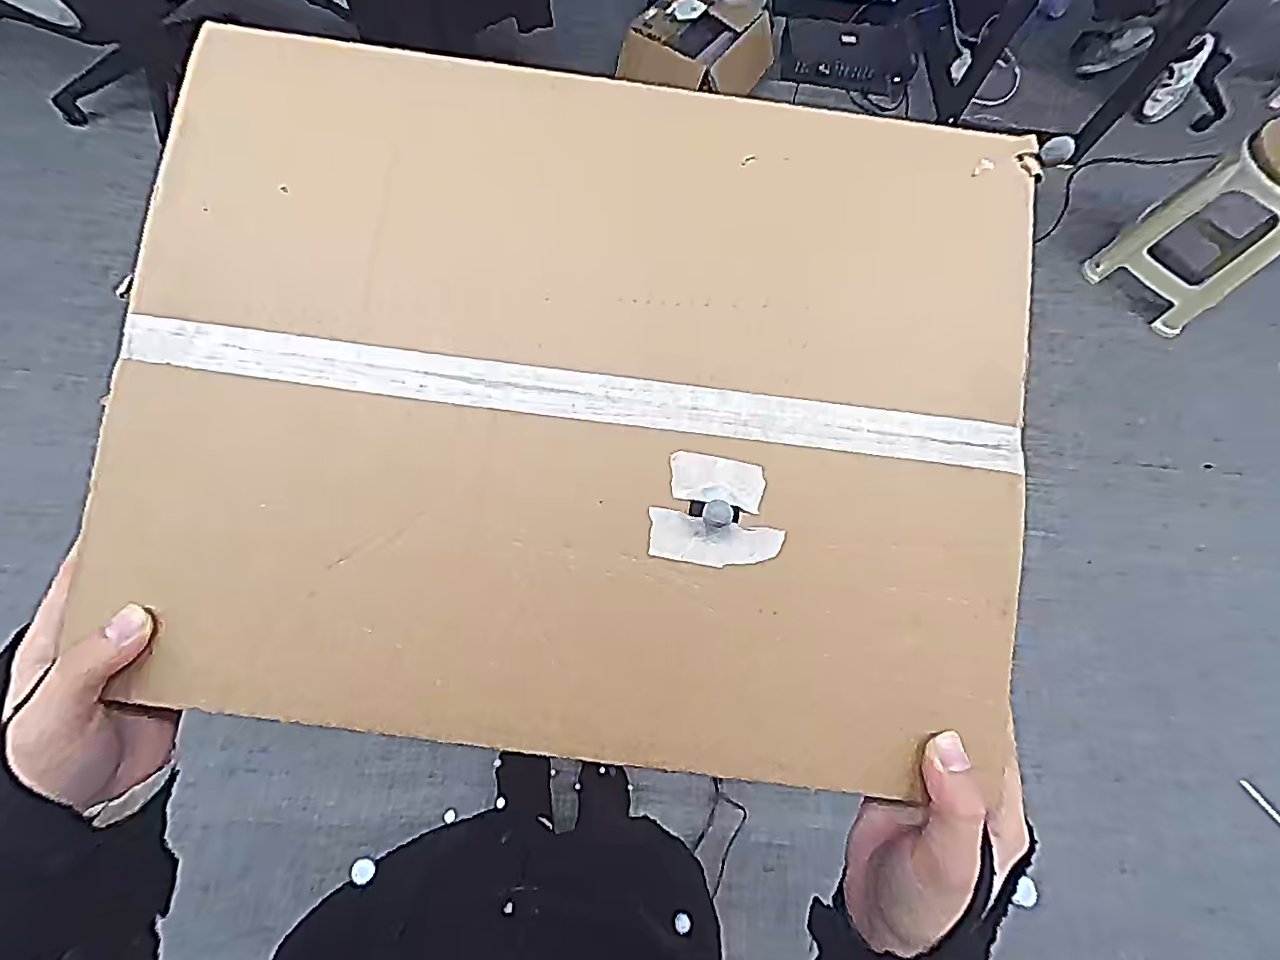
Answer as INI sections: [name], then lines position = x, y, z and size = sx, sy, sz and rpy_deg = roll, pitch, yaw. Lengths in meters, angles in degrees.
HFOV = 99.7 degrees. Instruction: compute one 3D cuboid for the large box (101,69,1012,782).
[large box]
position = -0.030, -0.018, 0.404
size = 0.408, 0.320, 0.320
rpy_deg = 7, 85, -1
